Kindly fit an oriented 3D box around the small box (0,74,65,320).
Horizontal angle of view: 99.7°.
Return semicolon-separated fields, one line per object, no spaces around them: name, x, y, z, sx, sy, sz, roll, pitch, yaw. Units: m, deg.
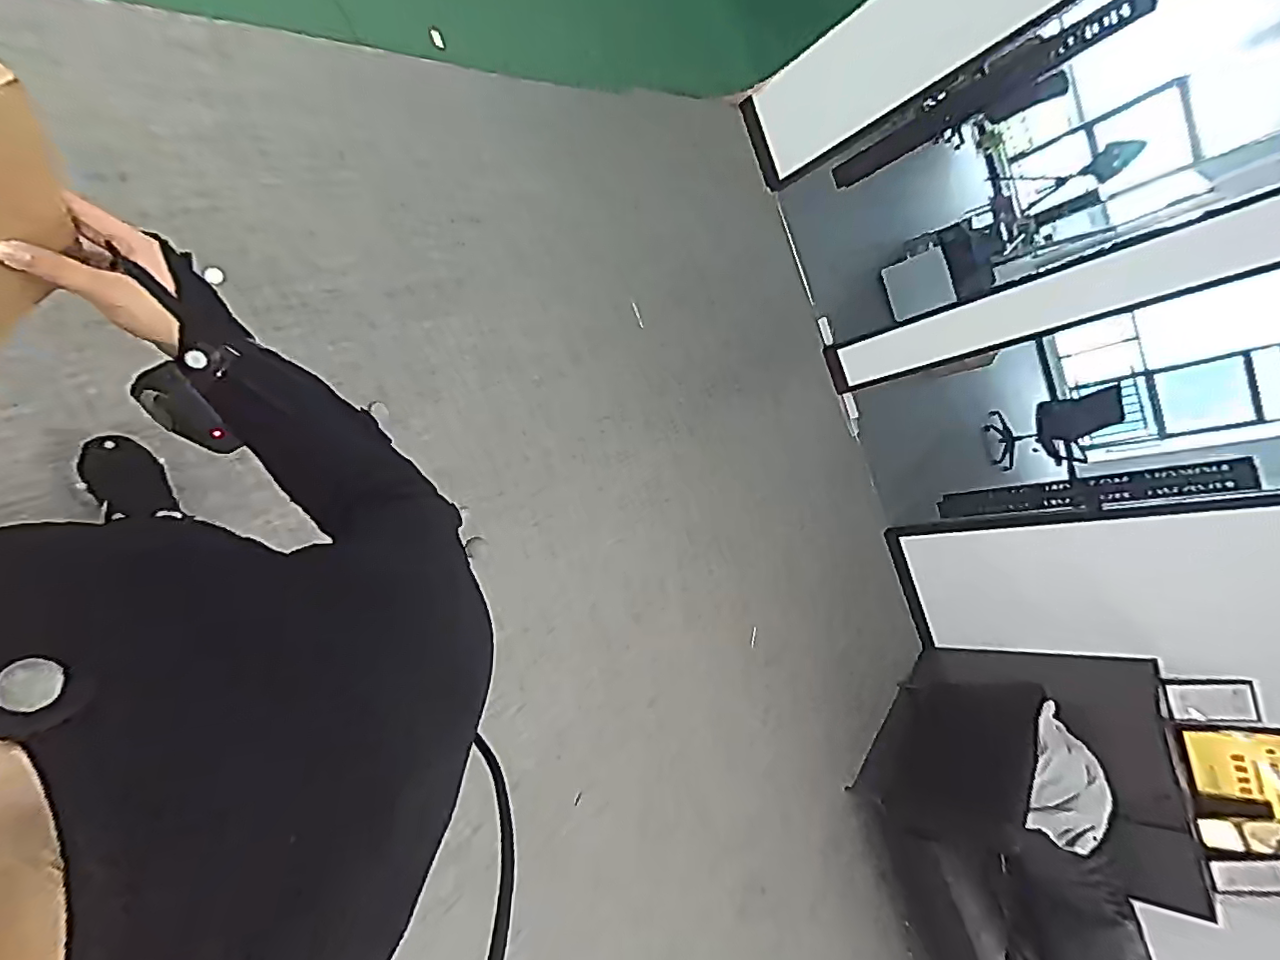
small box;-0.450;-0.155;0.263;0.168;0.176;0.179;32;59;-25
